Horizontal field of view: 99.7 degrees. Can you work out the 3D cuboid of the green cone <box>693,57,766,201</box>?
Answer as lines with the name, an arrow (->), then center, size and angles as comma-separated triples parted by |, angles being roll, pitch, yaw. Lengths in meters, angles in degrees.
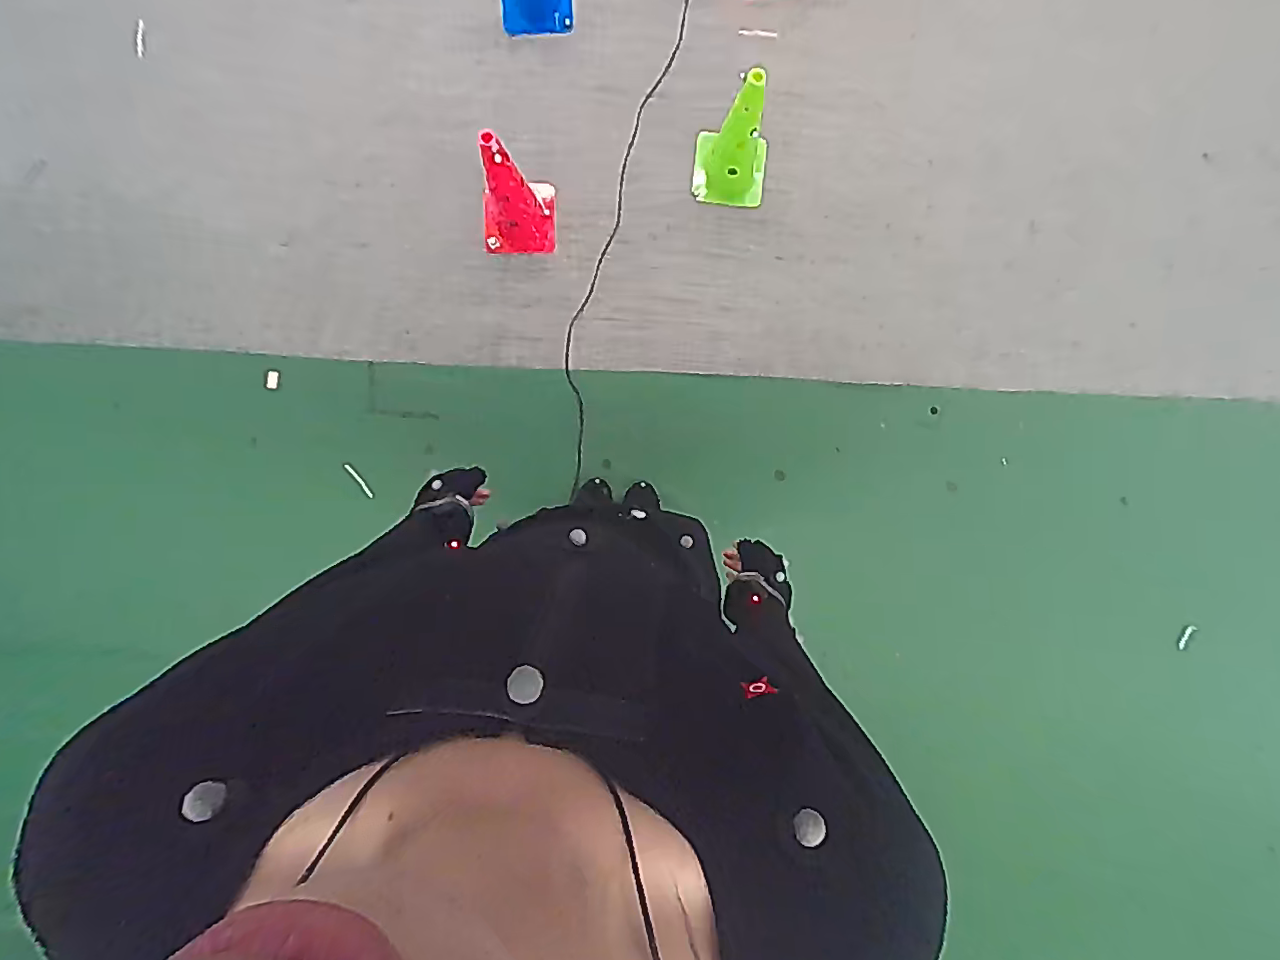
green cone -> 0.257, -0.897, 1.359 | 0.200, 0.368, 0.202 | 5, 88, -1
